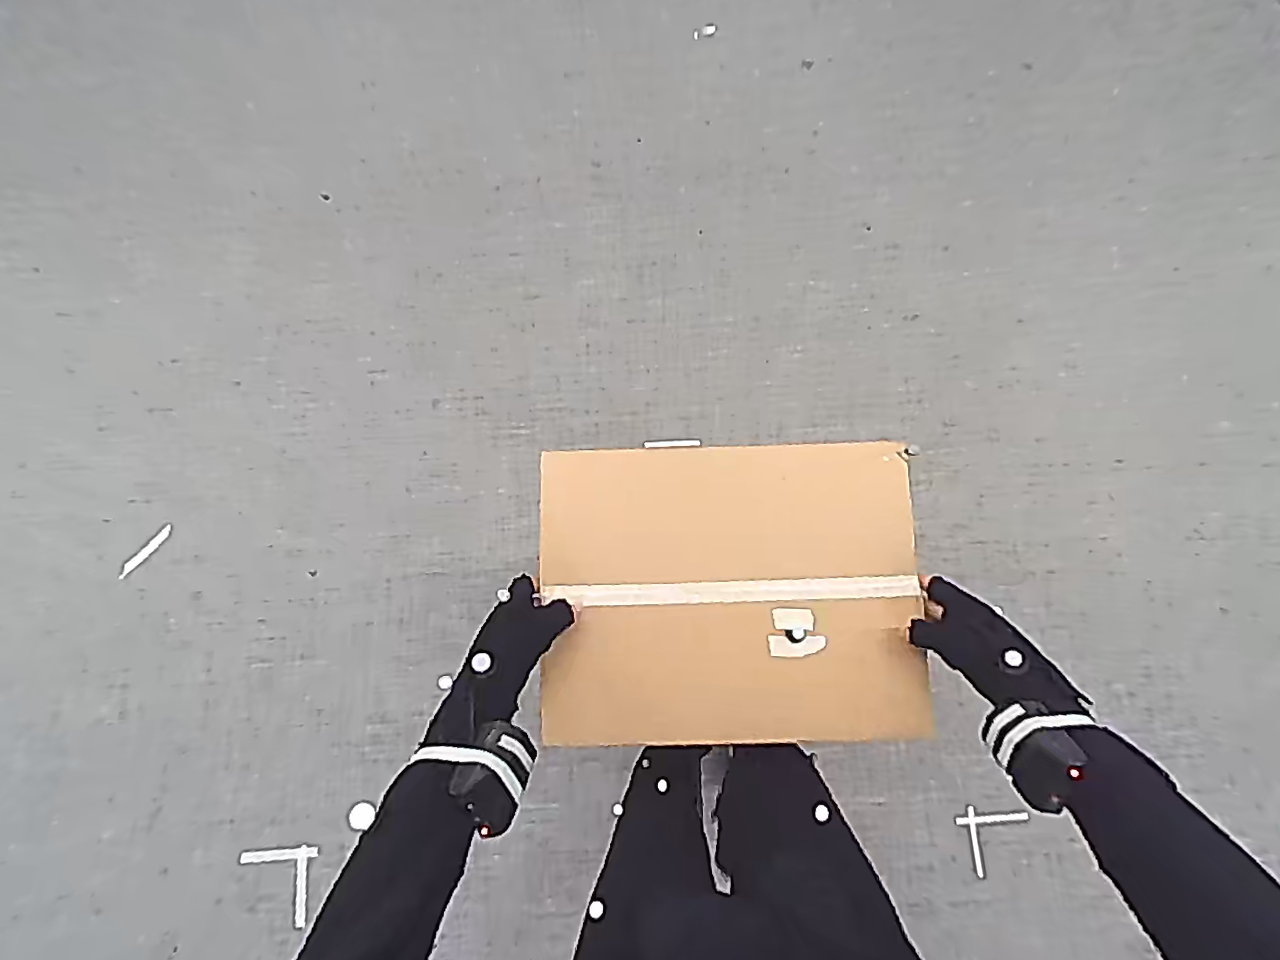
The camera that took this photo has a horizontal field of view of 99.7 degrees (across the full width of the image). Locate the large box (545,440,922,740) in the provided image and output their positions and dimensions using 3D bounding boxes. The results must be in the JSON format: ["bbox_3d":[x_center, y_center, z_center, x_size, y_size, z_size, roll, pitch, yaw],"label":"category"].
[{"bbox_3d":[0.096,0.136,0.739,0.408,0.320,0.320,-2,83,0],"label":"large box"}]
